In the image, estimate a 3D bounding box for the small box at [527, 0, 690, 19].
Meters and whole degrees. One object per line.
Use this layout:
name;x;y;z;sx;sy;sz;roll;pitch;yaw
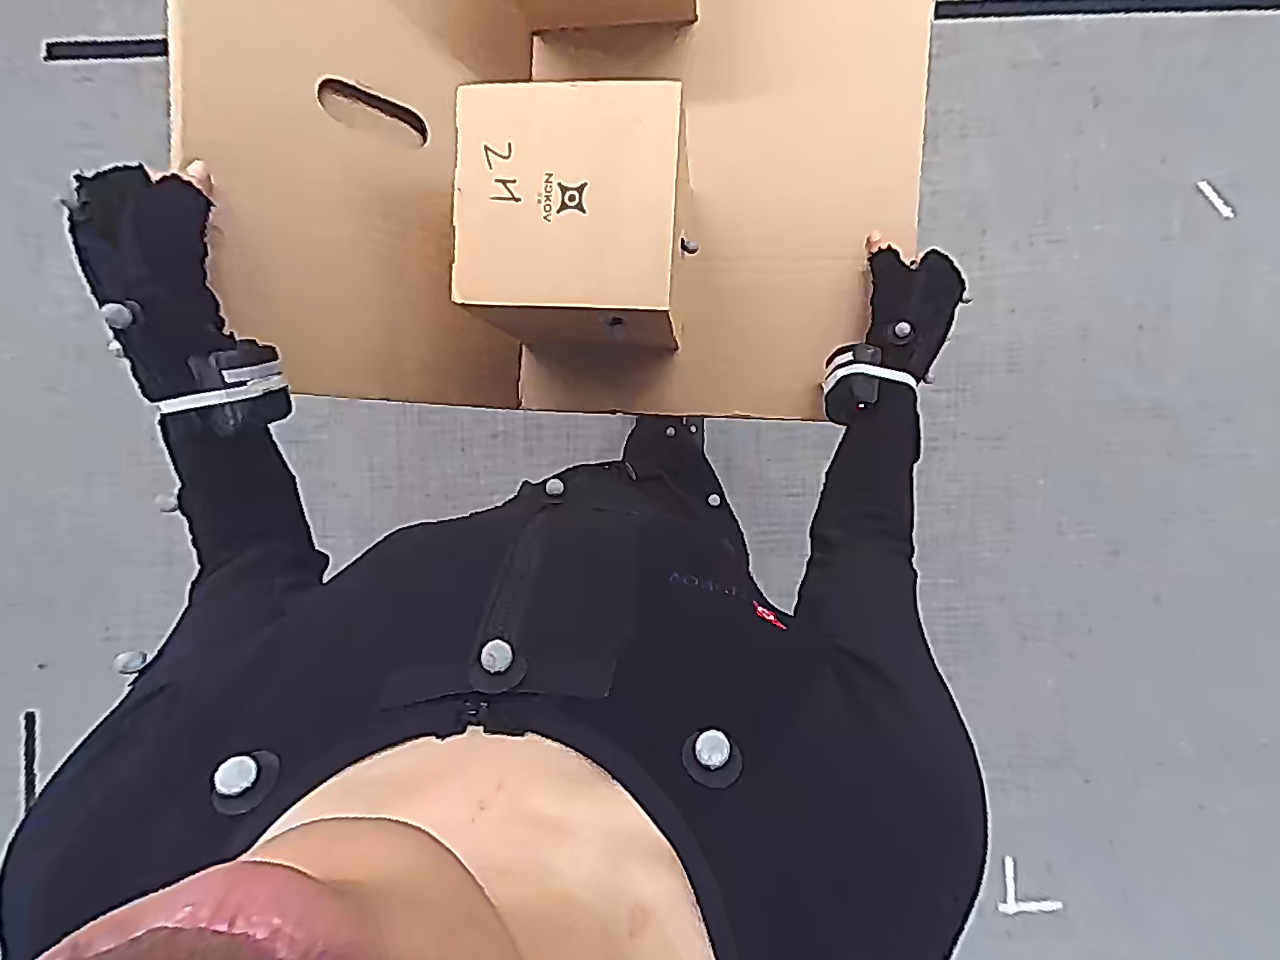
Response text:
small box;-0.036;-0.552;0.474;0.179;0.176;0.168;2;95;6

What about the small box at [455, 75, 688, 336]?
small box;-0.049;-0.233;0.499;0.179;0.176;0.168;5;95;7
